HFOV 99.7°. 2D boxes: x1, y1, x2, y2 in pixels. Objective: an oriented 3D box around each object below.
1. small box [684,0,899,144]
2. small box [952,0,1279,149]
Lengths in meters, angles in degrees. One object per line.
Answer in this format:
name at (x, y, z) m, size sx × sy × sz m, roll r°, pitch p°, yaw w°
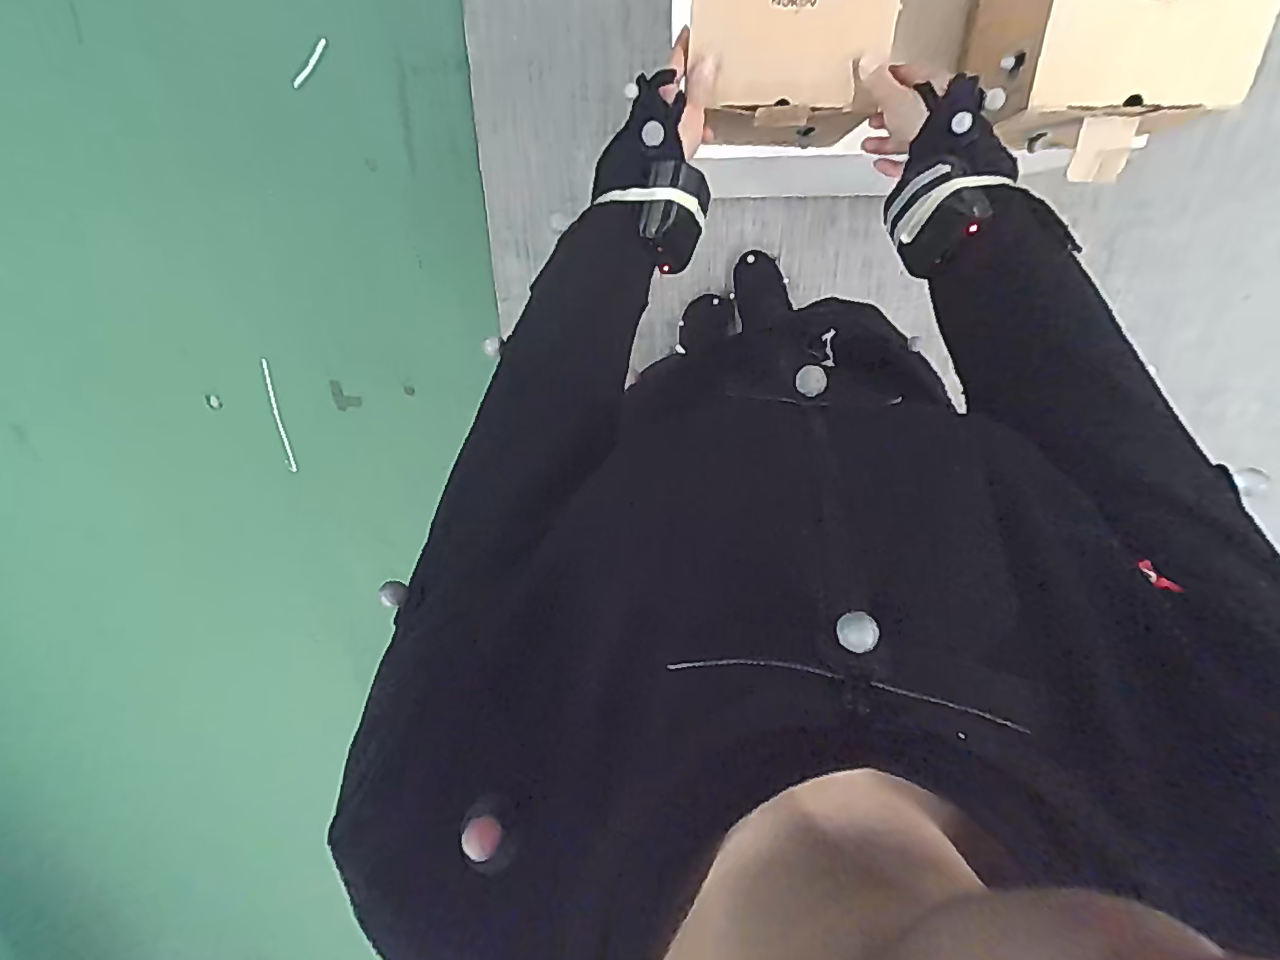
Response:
small box at (0.128, -0.421, 0.495) m, size 0.168 × 0.176 × 0.179 m, roll 3°, pitch 112°, yaw 3°
small box at (0.404, -0.407, 0.473) m, size 0.168 × 0.176 × 0.179 m, roll 2°, pitch 113°, yaw 5°
